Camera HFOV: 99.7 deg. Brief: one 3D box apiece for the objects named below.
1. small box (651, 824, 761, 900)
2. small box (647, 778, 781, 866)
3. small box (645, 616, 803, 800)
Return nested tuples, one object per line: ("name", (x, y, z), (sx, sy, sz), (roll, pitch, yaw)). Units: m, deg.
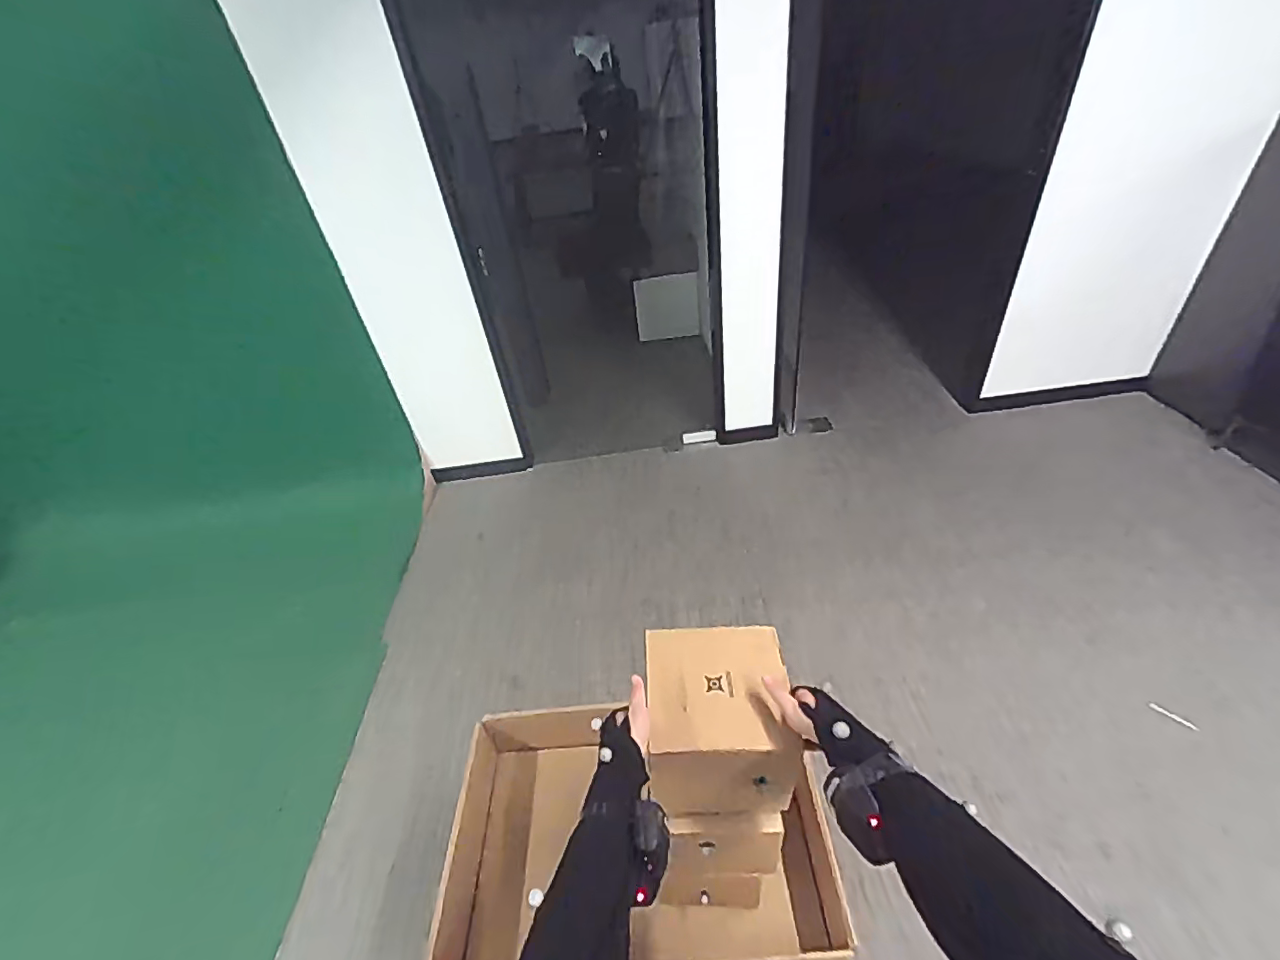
("small box", (0.113, 0.578, 0.908), (0.168, 0.176, 0.179), (-3, 39, 7))
("small box", (0.108, 0.451, 0.803), (0.179, 0.176, 0.168), (-3, 39, 6))
("small box", (0.097, 0.295, 0.703), (0.179, 0.176, 0.168), (-3, 38, 2))
